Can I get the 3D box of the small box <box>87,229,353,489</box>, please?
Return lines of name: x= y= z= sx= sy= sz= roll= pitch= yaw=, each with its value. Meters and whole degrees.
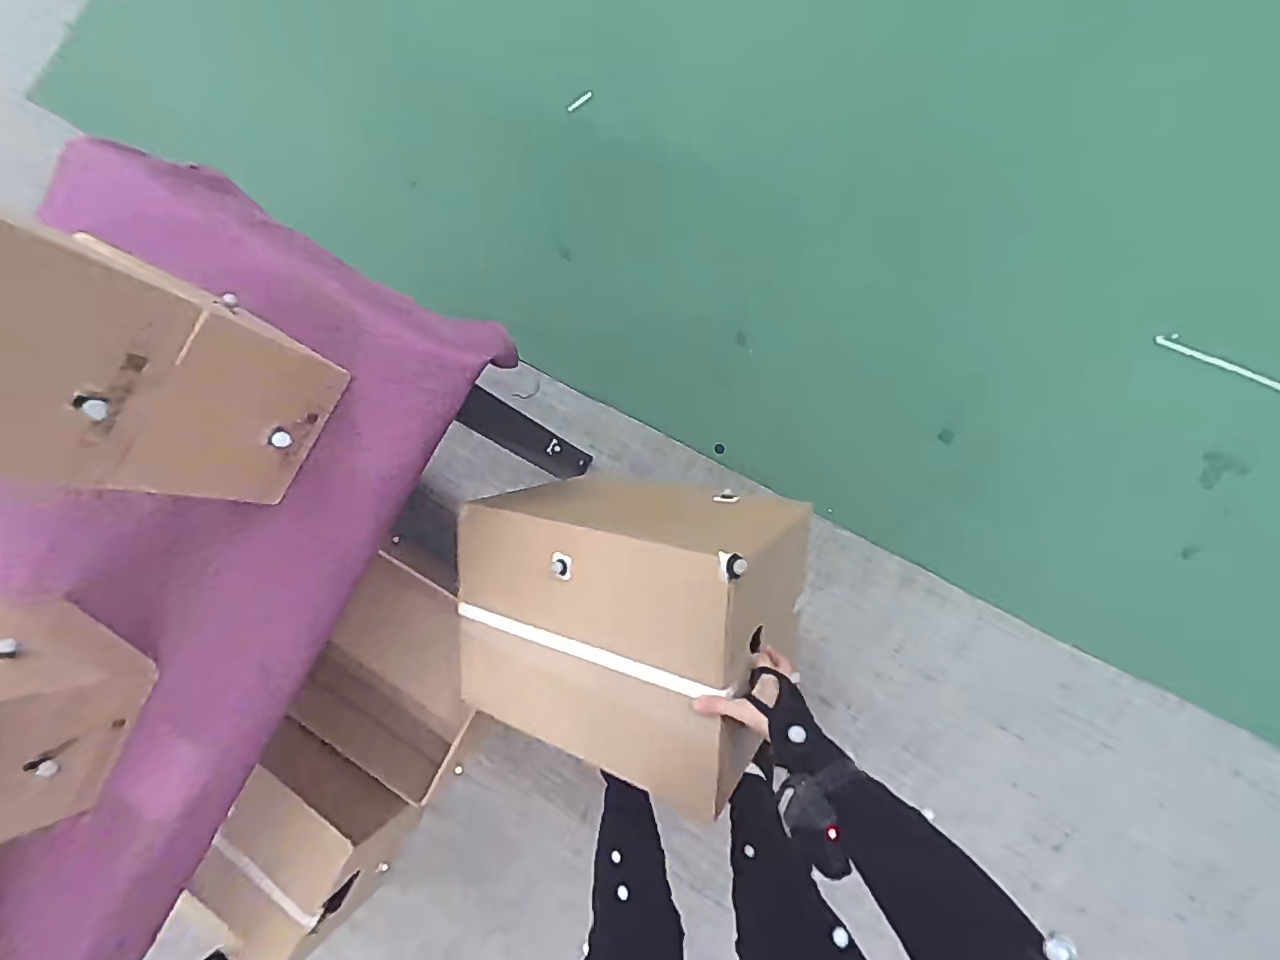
small box: x=-0.437 y=-0.102 z=0.534 sx=0.179 sy=0.176 sz=0.168 roll=29 pitch=89 yaw=13

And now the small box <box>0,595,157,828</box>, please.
small box: x=-0.639 y=0.222 z=0.525 sx=0.179 sy=0.176 sz=0.168 roll=25 pitch=87 yaw=12

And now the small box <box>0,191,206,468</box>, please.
small box: x=-0.470 y=-0.120 z=0.375 sx=0.179 sy=0.176 sz=0.168 roll=27 pitch=89 yaw=13
